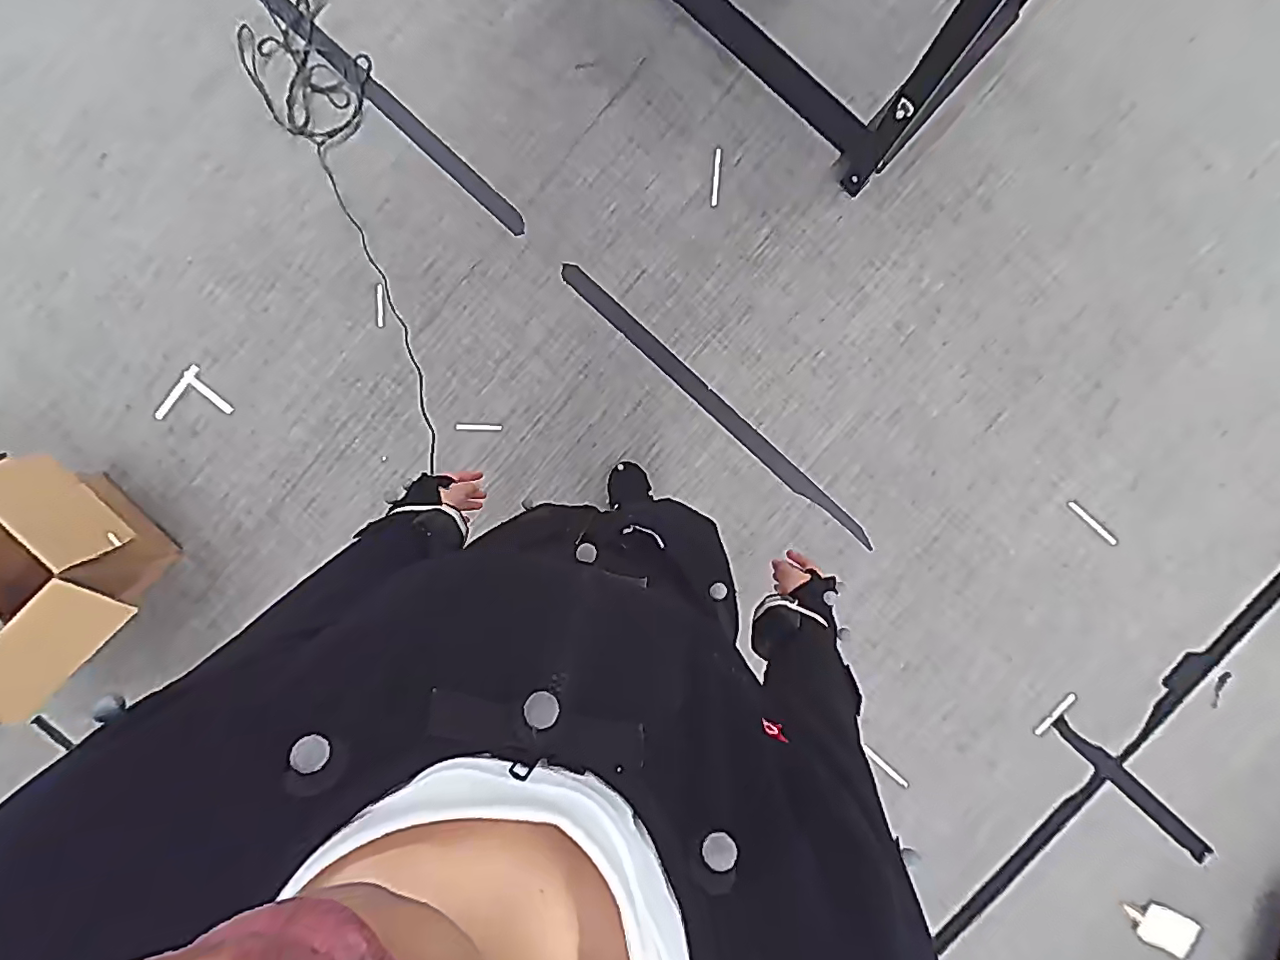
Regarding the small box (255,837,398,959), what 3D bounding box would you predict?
[{"bbox_3d":[-0.665,0.938,1.173,0.168,0.176,0.179,40,92,-1],"label":"small box"}]
